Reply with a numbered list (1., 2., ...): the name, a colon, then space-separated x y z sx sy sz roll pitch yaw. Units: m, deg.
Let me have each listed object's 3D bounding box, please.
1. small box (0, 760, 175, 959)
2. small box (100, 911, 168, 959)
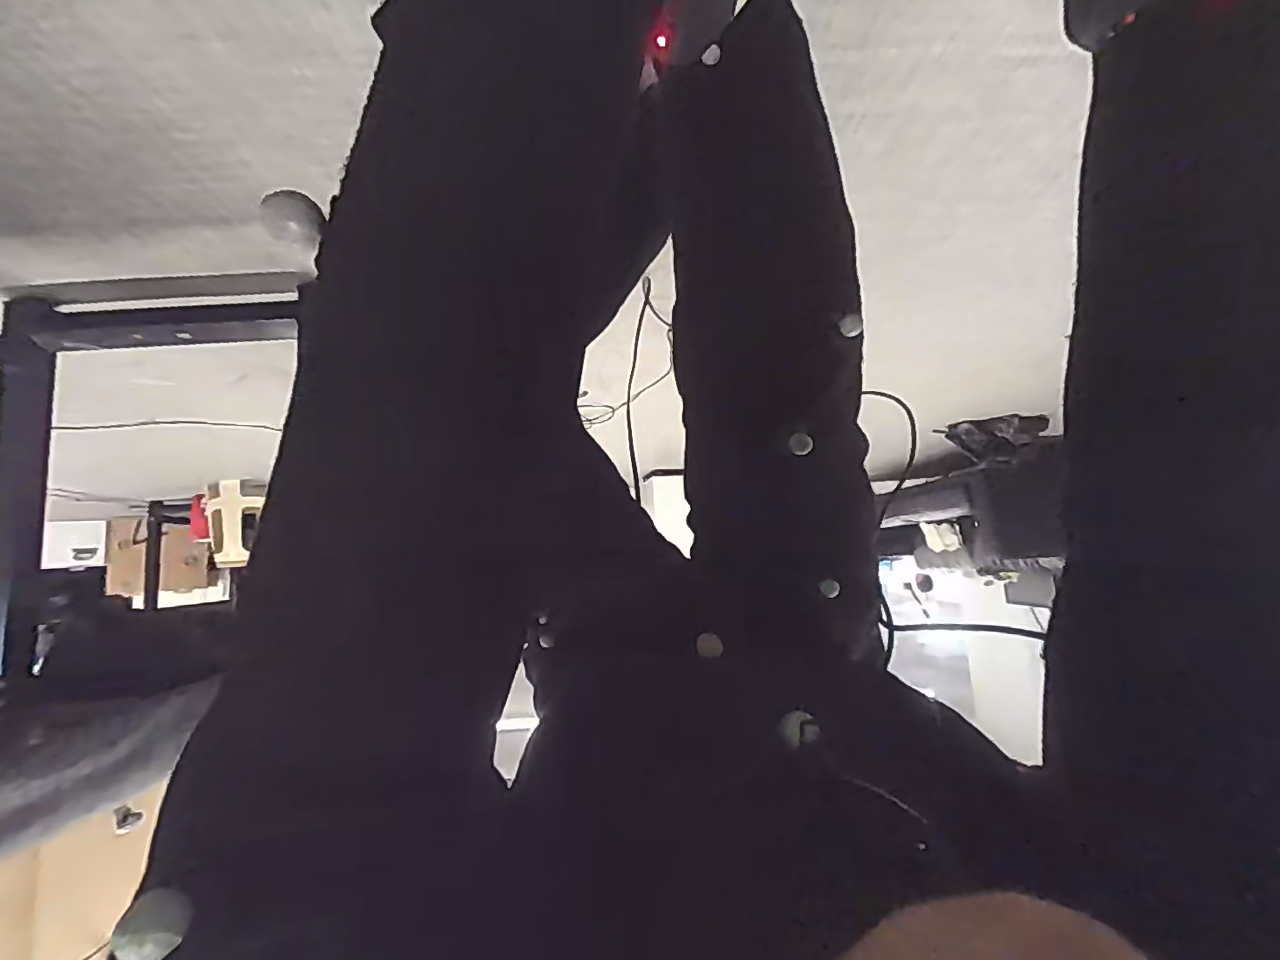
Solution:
1. small box: -0.640 0.415 0.572 0.179 0.176 0.168 -5 172 0
2. small box: -0.628 0.575 0.551 0.179 0.176 0.168 -5 173 0
